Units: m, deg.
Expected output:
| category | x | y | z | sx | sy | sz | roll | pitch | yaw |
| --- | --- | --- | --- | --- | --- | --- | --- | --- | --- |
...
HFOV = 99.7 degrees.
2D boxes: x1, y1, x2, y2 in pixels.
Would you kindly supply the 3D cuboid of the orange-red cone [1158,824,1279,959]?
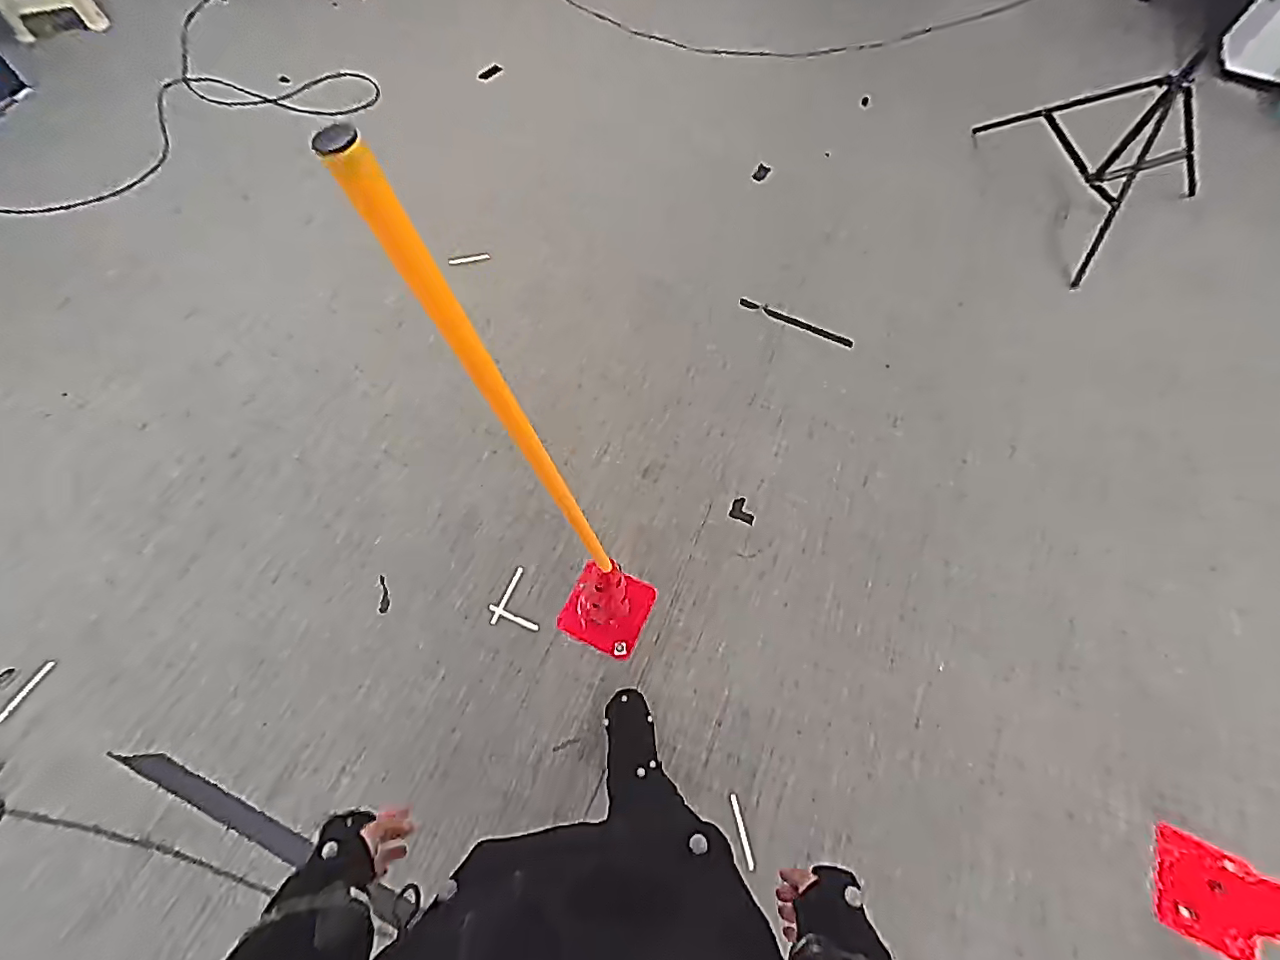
| category | x | y | z | sx | sy | sz | roll | pitch | yaw |
| --- | --- | --- | --- | --- | --- | --- | --- | --- | --- |
| orange-red cone | 1.208 | 0.791 | 0.981 | 0.199 | 0.360 | 0.198 | 26 | 66 | 9 |
